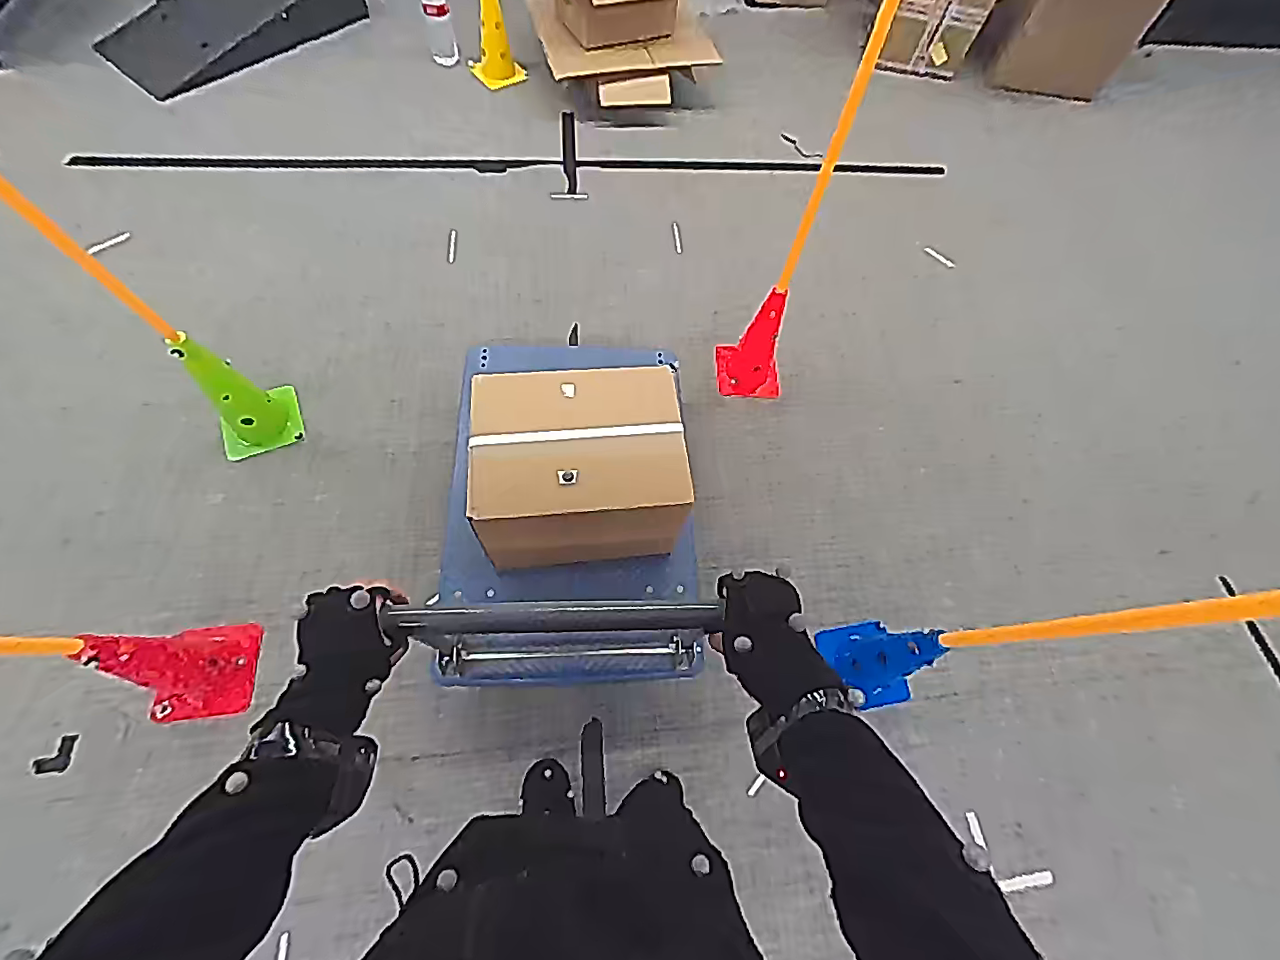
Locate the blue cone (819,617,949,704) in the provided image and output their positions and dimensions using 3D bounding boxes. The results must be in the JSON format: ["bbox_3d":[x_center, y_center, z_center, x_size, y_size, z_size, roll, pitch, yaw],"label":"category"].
[{"bbox_3d":[0.575,0.378,1.213,0.193,0.380,0.192,-6,63,-9],"label":"blue cone"}]

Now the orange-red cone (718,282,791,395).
[{"bbox_3d":[0.364,-0.431,1.575,0.199,0.360,0.198,3,64,-5],"label":"orange-red cone"}]
